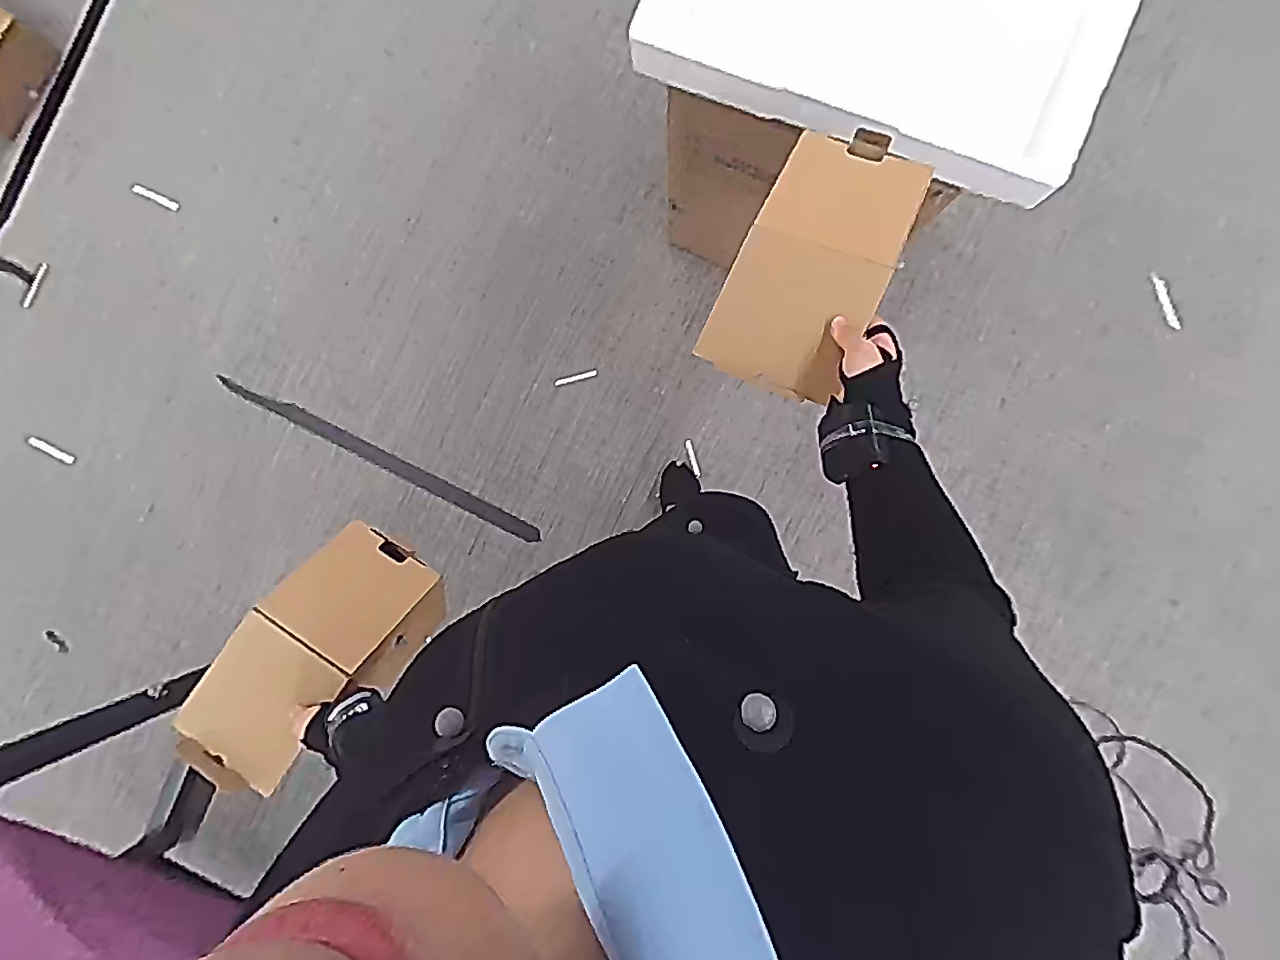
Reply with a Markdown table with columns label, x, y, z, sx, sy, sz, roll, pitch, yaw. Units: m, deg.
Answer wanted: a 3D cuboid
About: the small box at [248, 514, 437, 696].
| label | x | y | z | sx | sy | sz | roll | pitch | yaw |
| --- | --- | --- | --- | --- | --- | --- | --- | --- | --- |
| small box | -0.419 | 0.191 | 0.803 | 0.168 | 0.176 | 0.179 | 33 | 52 | 5 |
